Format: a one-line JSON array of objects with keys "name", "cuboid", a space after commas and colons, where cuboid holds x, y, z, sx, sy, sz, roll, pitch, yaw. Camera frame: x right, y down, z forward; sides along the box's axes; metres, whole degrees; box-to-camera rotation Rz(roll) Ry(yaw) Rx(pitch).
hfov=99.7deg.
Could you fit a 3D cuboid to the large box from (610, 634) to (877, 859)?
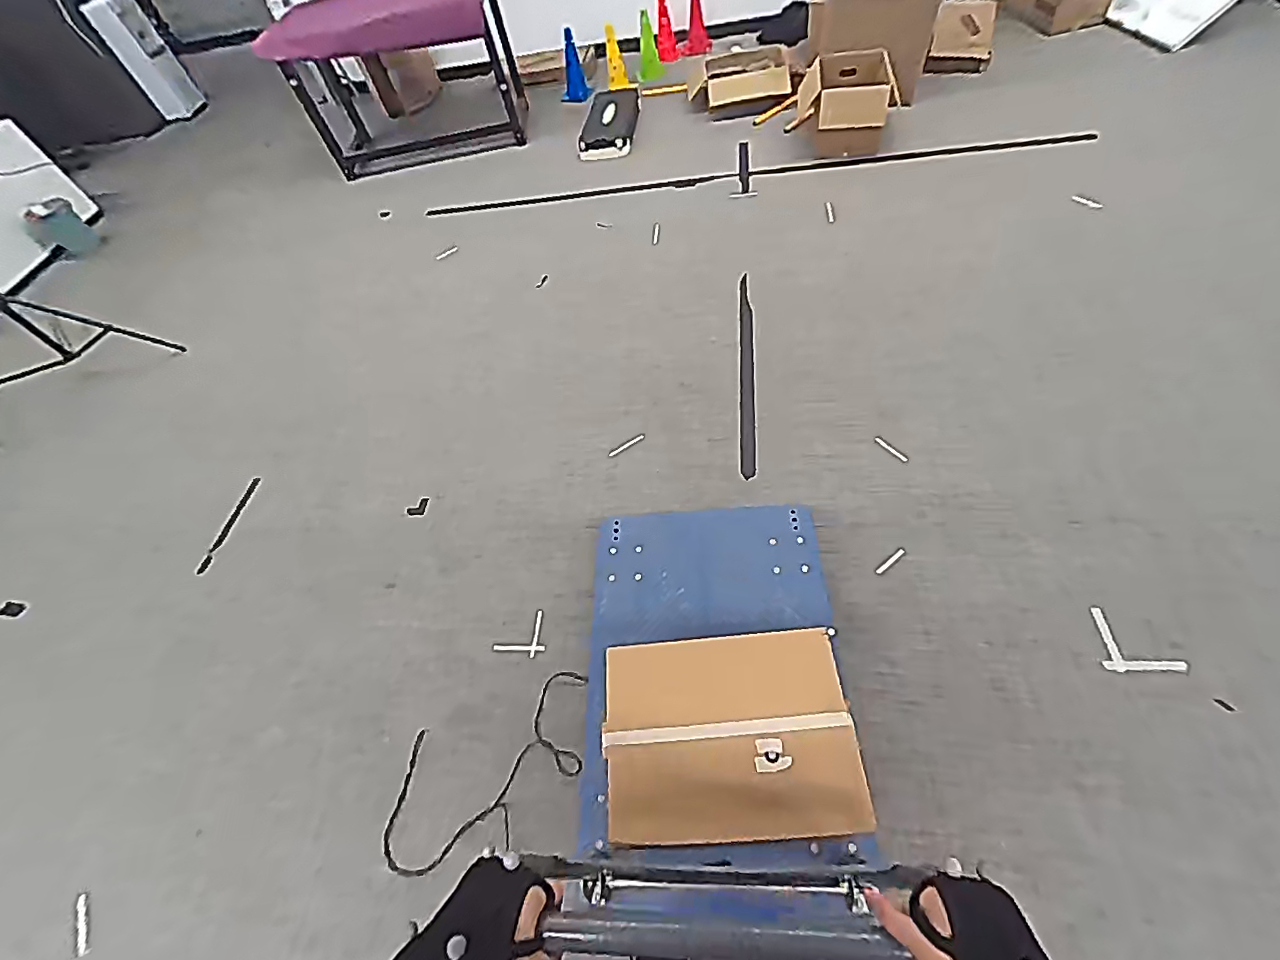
[{"name": "large box", "cuboid": [0.167, 0.512, 1.021, 0.408, 0.320, 0.320, -7, 55, 4]}]
